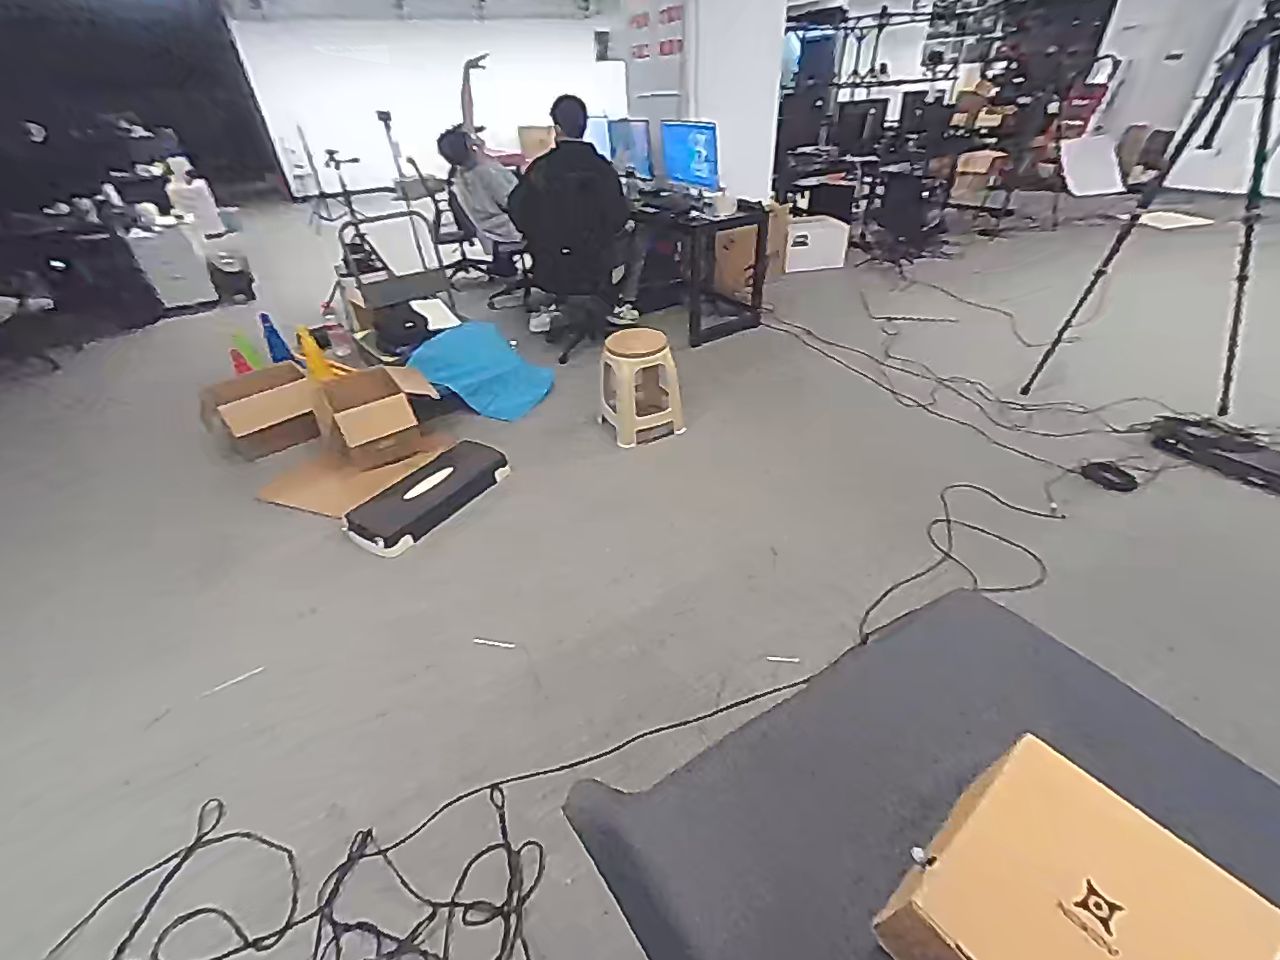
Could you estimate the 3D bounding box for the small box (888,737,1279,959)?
[{"bbox_3d":[0.324,0.351,0.425,0.179,0.176,0.168,-35,49,-23],"label":"small box"}]
